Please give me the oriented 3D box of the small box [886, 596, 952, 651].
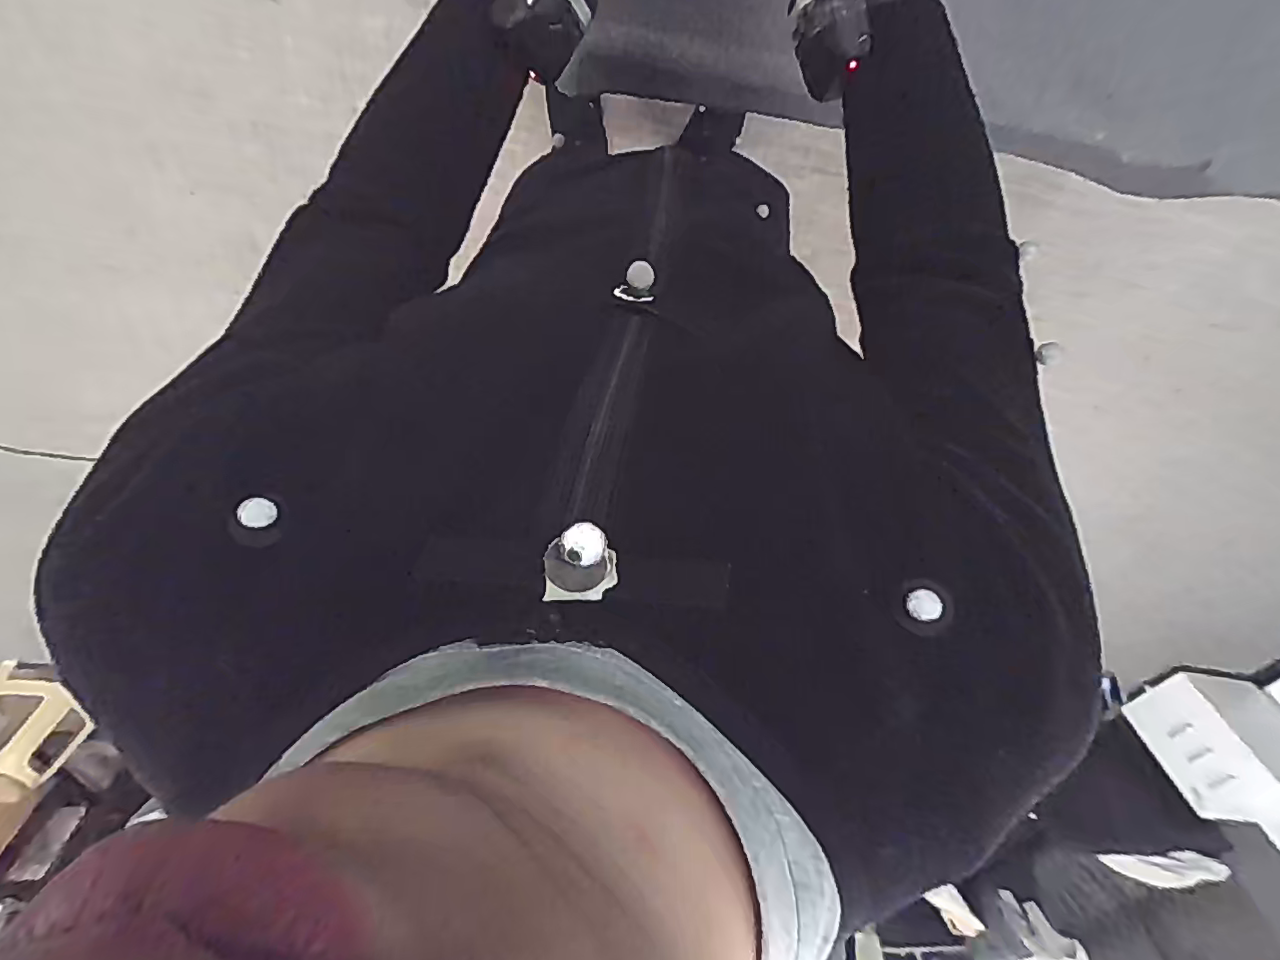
[{"bbox_3d":[1.191,0.618,2.324,0.168,0.176,0.179,4,129,-6],"label":"small box"}]
